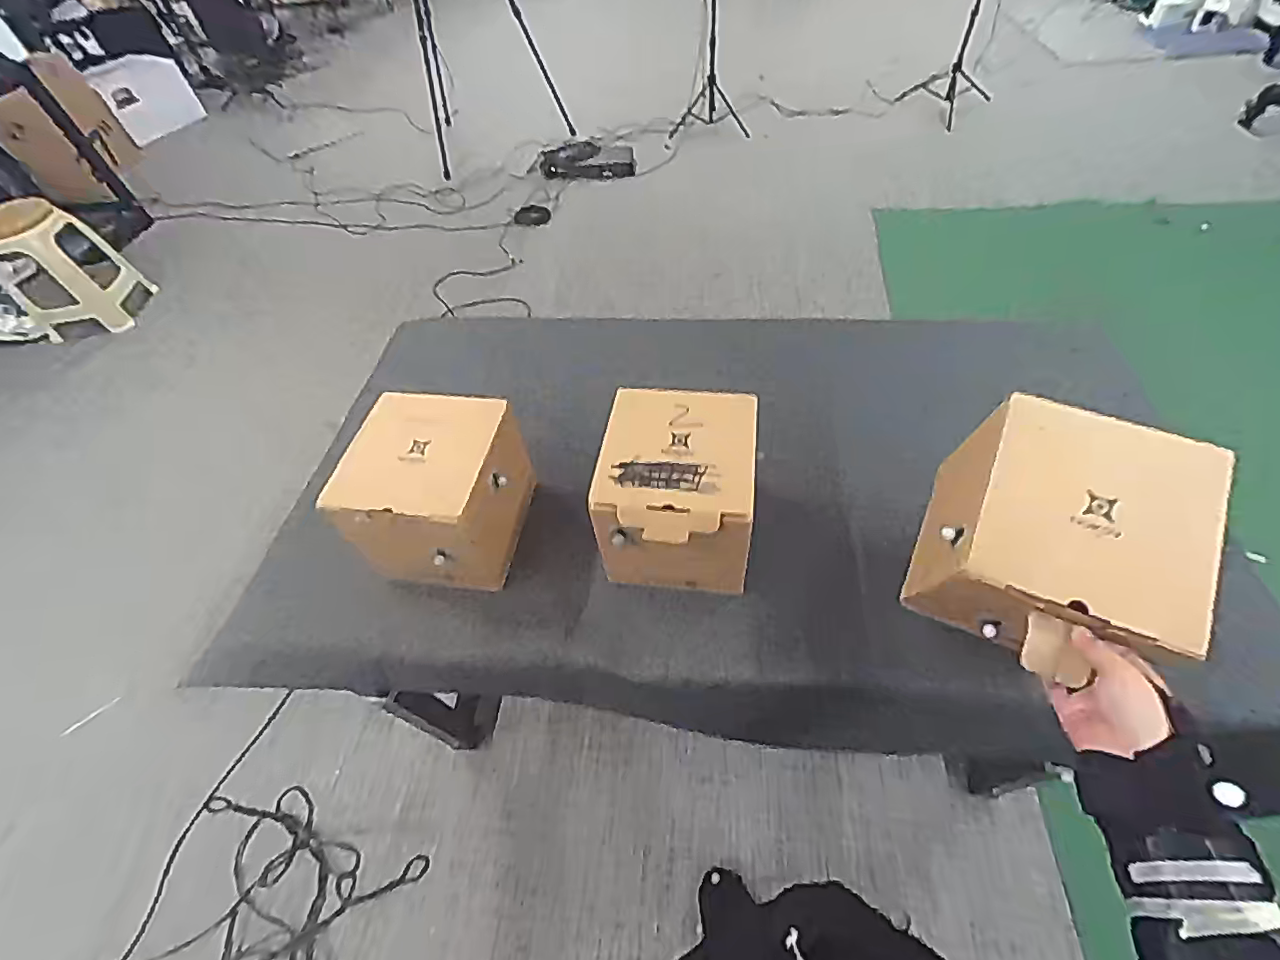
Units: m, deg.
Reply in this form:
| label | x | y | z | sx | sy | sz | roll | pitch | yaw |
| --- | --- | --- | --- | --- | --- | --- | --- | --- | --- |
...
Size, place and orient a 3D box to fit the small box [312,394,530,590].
| label | x | y | z | sx | sy | sz | roll | pitch | yaw |
| --- | --- | --- | --- | --- | --- | --- | --- | --- | --- |
| small box | -0.246 | 0.018 | 0.663 | 0.168 | 0.176 | 0.179 | 5 | 52 | 7 |

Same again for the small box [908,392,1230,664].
| label | x | y | z | sx | sy | sz | roll | pitch | yaw |
| --- | --- | --- | --- | --- | --- | --- | --- | --- | --- |
| small box | 0.373 | 0.053 | 0.500 | 0.168 | 0.176 | 0.179 | 20 | 73 | 15 |
